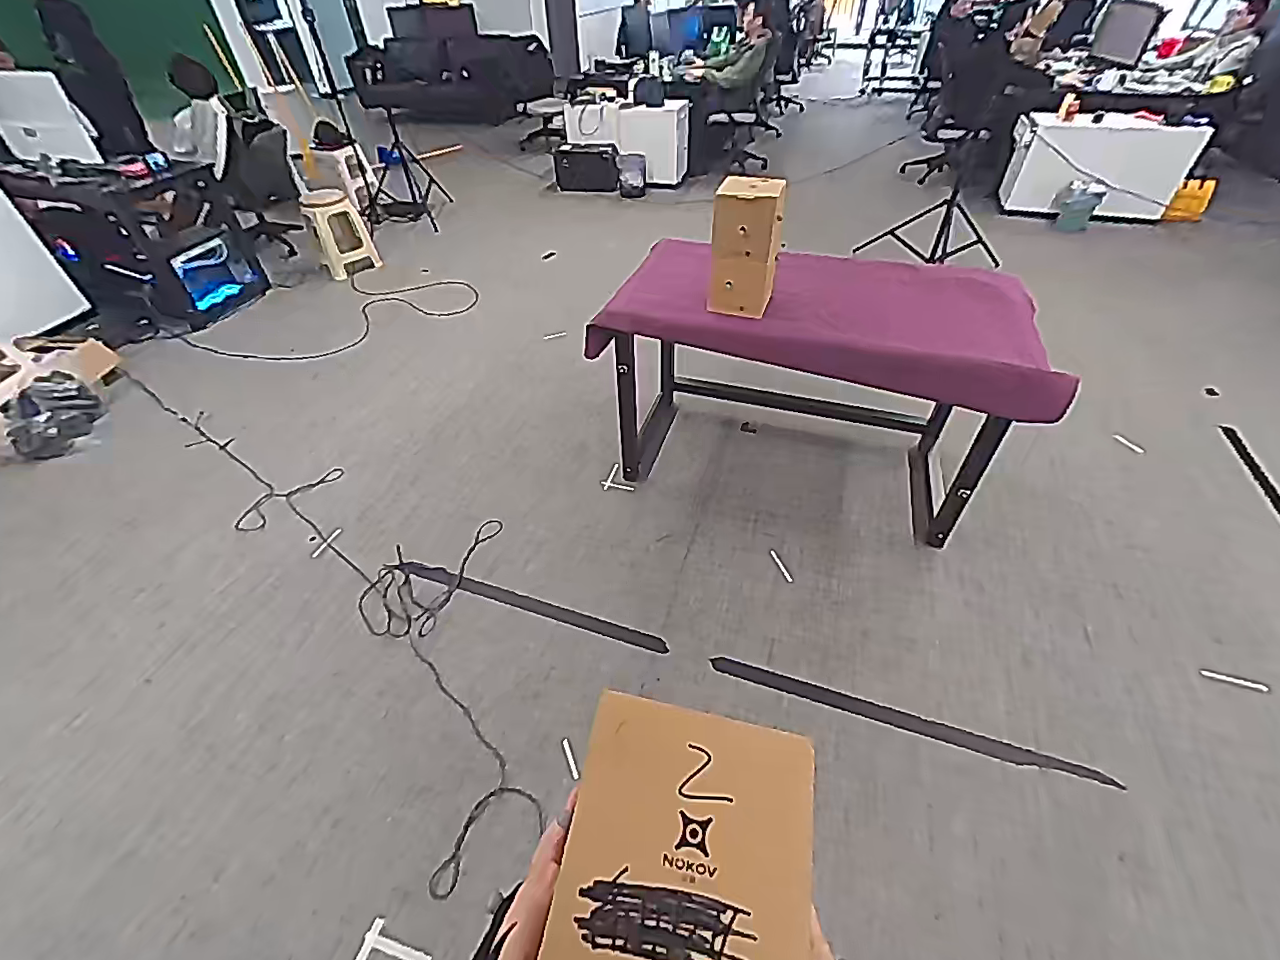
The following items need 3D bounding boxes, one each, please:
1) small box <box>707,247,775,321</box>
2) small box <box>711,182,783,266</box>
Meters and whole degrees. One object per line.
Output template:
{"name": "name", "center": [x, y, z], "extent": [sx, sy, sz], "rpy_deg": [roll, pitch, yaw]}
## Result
{"name": "small box", "center": [0.301, -0.596, 1.627], "extent": [0.168, 0.176, 0.179], "rpy_deg": [13, 45, 15]}
{"name": "small box", "center": [0.297, -0.719, 1.519], "extent": [0.168, 0.176, 0.179], "rpy_deg": [12, 45, 14]}
